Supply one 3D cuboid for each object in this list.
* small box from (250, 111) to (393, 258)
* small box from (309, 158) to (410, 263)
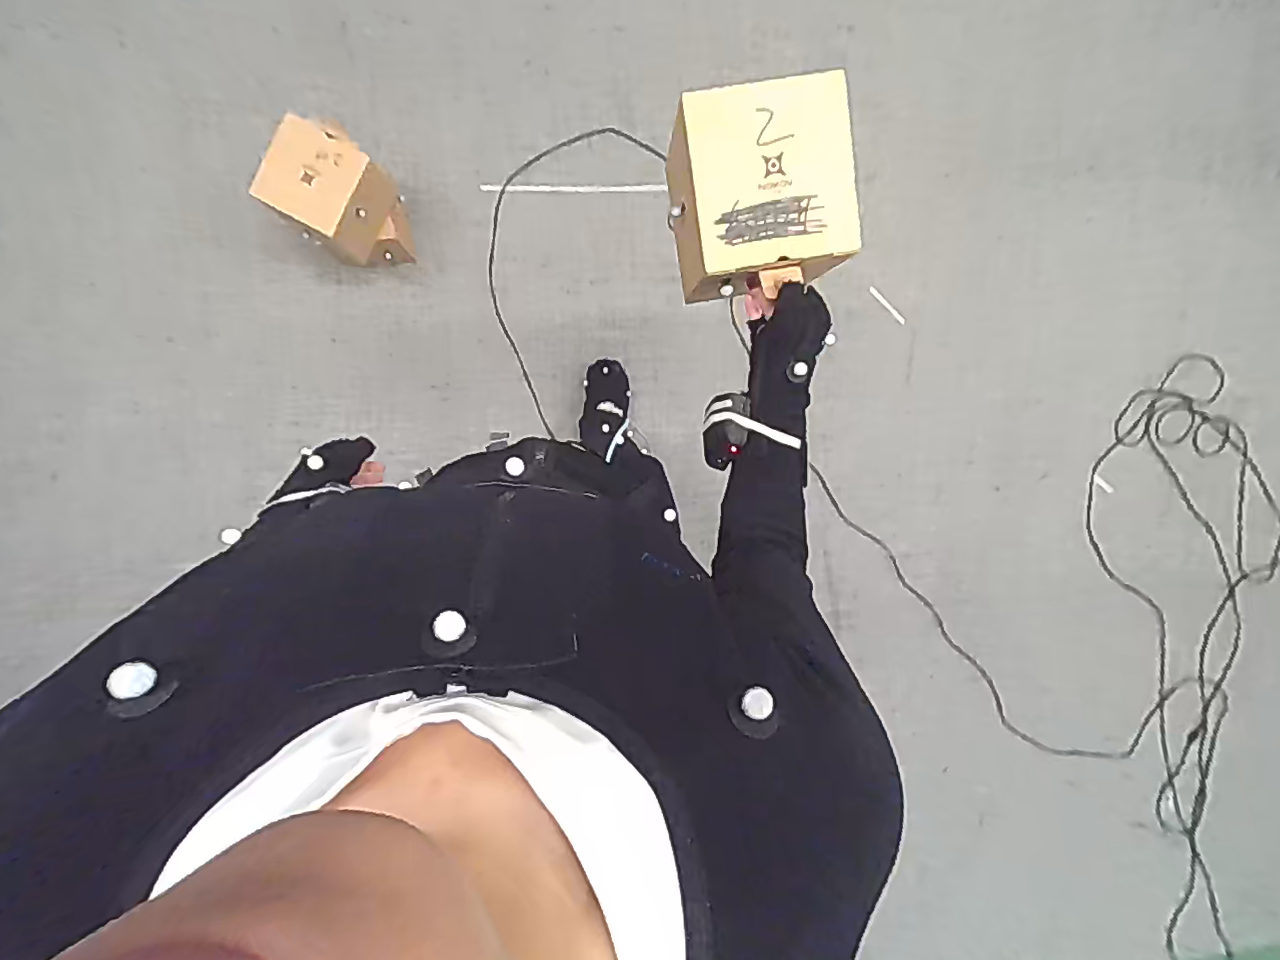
[{"bbox_3d":[-0.636,-0.587,1.106,0.168,0.176,0.179,27,91,-9],"label":"small box"},{"bbox_3d":[-0.649,-0.616,1.251,0.179,0.176,0.168,-8,95,-6],"label":"small box"}]
